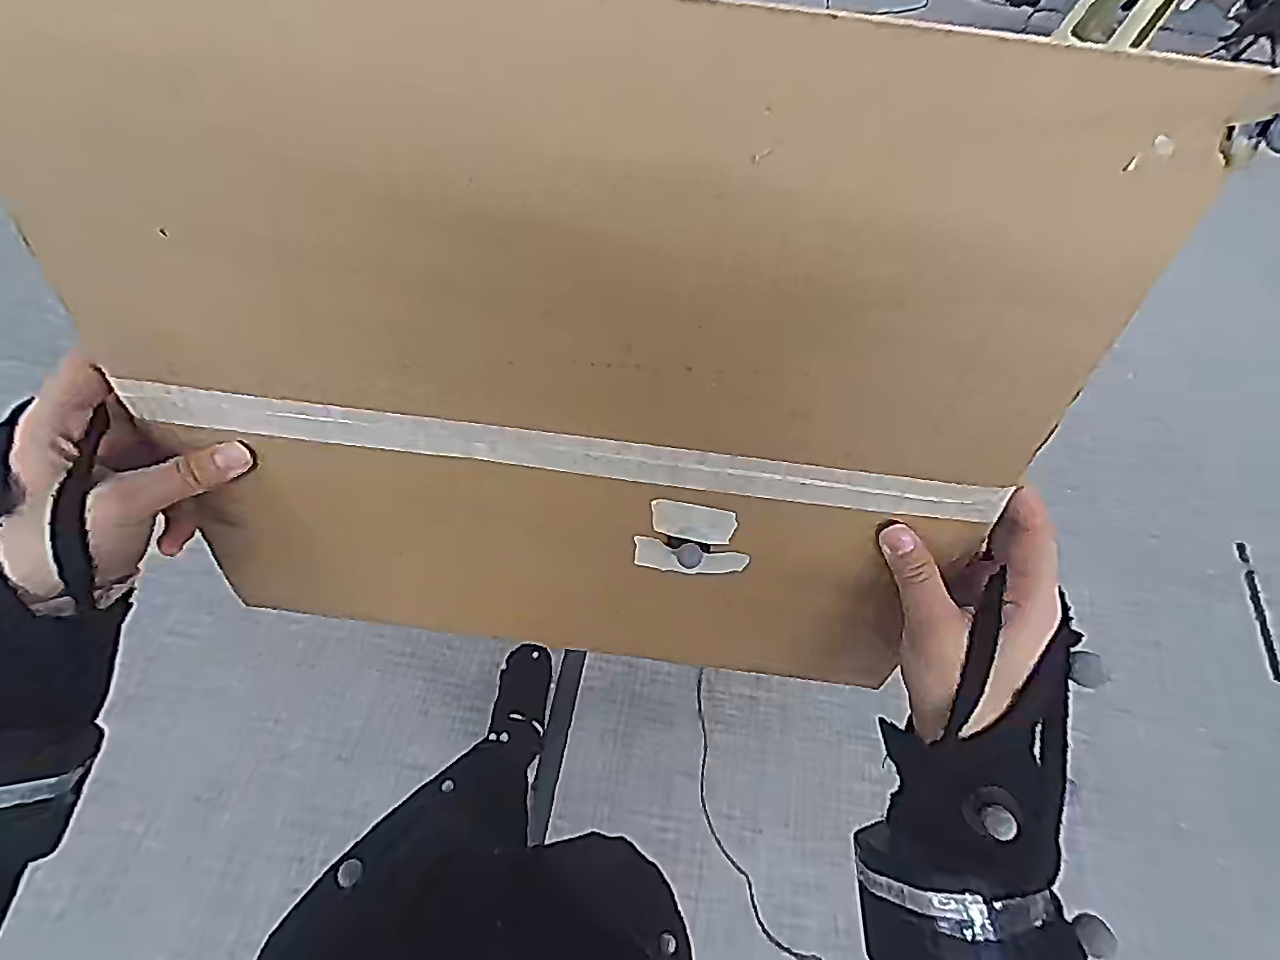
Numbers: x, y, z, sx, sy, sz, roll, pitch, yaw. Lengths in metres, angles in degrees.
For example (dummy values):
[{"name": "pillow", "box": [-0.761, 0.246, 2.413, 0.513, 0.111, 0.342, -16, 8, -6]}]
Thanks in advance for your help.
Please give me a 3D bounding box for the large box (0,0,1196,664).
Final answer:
[{"name": "large box", "box": [-0.026, -0.110, 0.377, 0.408, 0.320, 0.320, 6, 40, 0]}]
